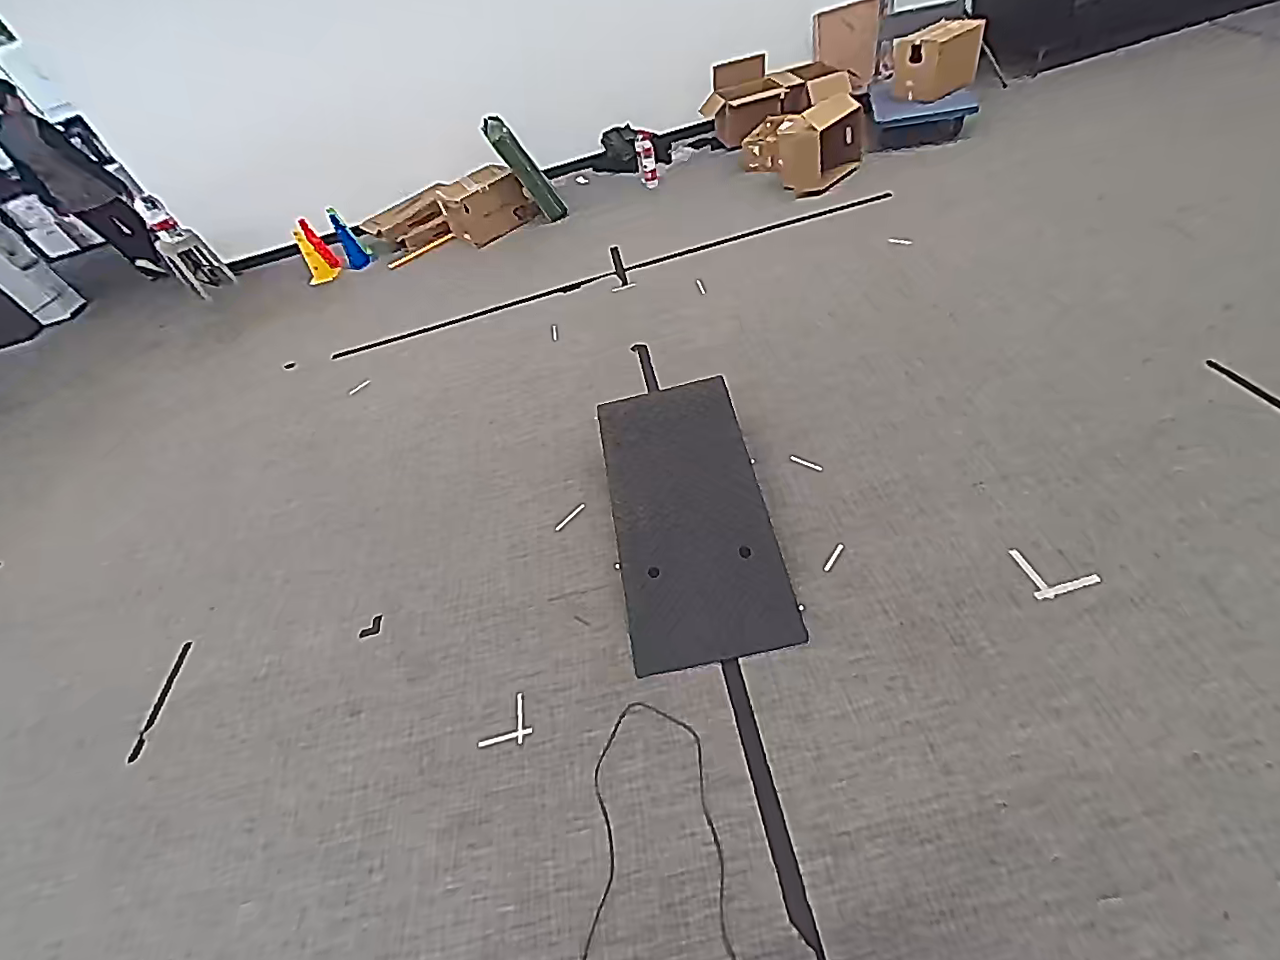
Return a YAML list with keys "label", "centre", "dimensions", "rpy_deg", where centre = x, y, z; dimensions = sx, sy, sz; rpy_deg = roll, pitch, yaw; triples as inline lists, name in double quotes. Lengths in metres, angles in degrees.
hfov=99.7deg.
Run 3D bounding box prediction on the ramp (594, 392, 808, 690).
- label: "ramp"
  centre: [0.149, 0.132, 1.781]
  dimensions: [0.509, 0.206, 0.991]
  rpy_deg: [-15, 46, 2]
